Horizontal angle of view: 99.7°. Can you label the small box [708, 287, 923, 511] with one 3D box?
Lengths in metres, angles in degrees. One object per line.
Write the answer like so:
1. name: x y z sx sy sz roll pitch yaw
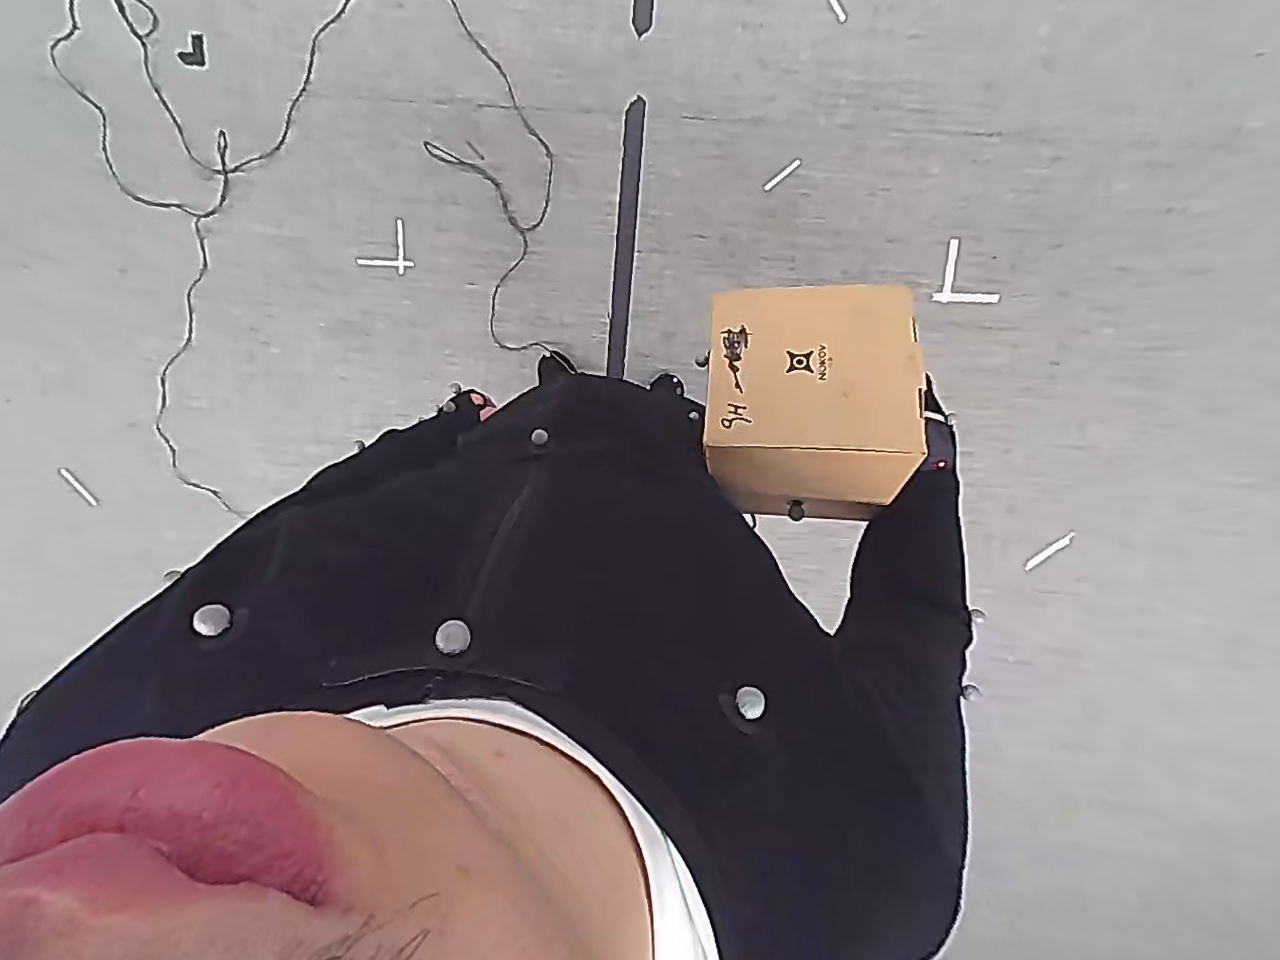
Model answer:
1. small box: 0.164 -0.073 0.552 0.179 0.176 0.168 3 67 11
